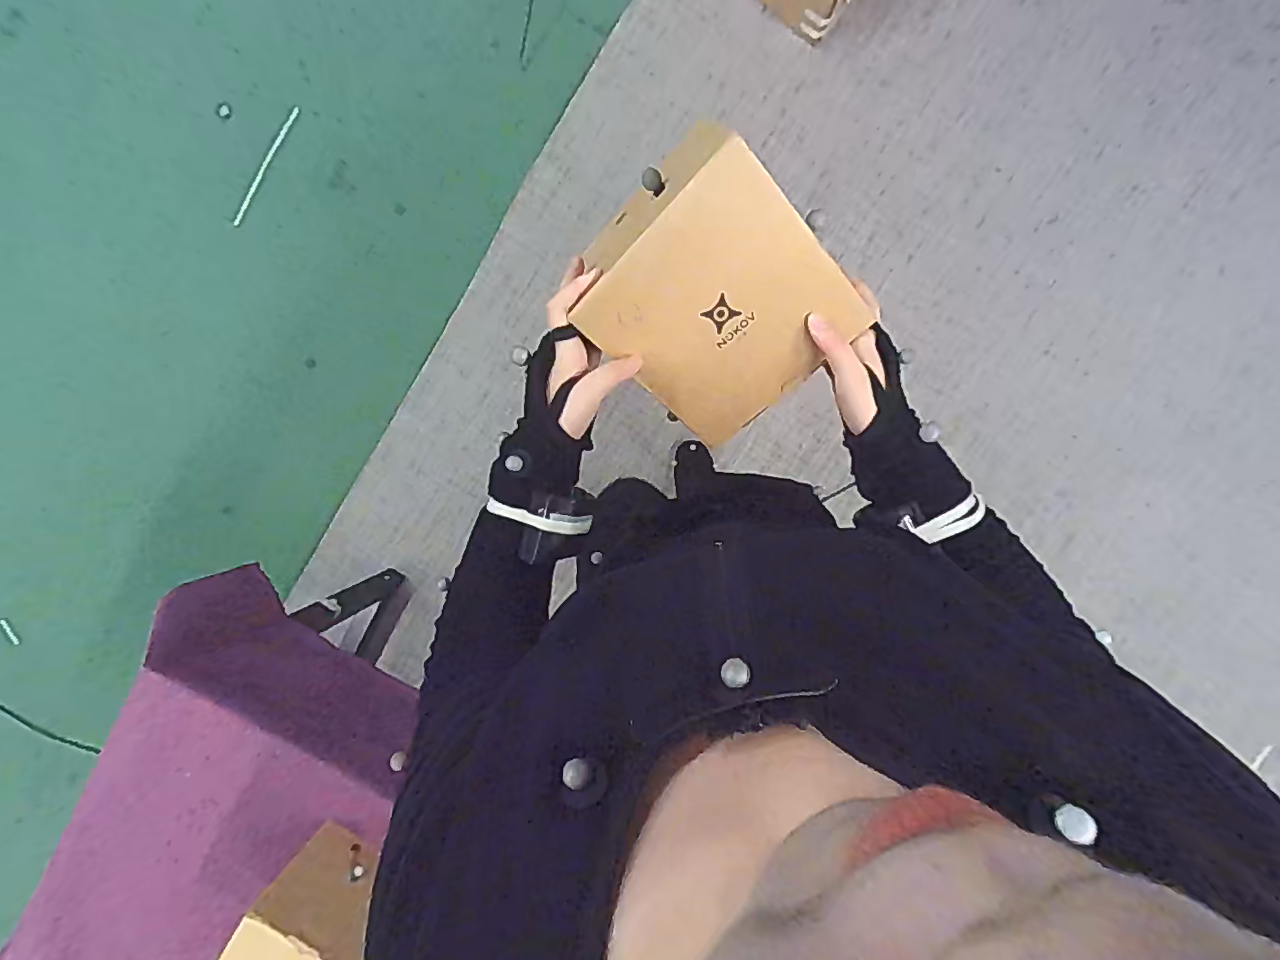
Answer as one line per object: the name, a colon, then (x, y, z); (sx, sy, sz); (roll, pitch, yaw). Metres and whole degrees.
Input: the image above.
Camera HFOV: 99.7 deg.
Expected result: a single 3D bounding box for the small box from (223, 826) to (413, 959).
small box: (-0.452, 0.643, 0.752); (0.168, 0.176, 0.179); (32, 95, 0)
